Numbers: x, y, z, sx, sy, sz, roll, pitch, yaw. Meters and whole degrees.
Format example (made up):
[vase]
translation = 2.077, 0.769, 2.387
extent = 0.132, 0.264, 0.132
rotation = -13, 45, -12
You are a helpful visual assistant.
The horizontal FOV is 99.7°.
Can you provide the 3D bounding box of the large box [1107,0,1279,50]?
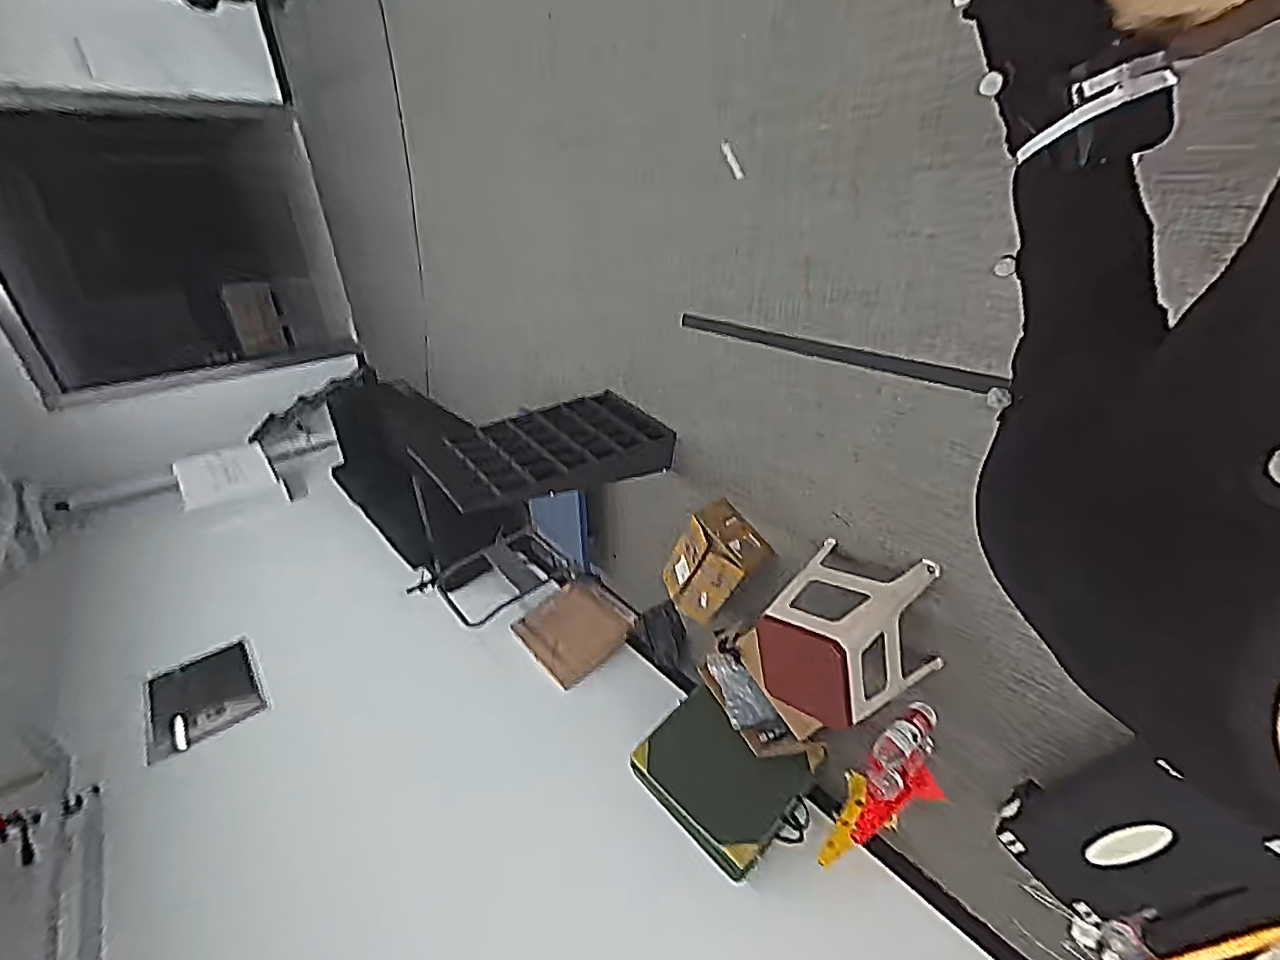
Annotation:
[large box]
translation = 0.498, -0.508, 0.264
extent = 0.408, 0.320, 0.320
rotation = -3, 113, 55
